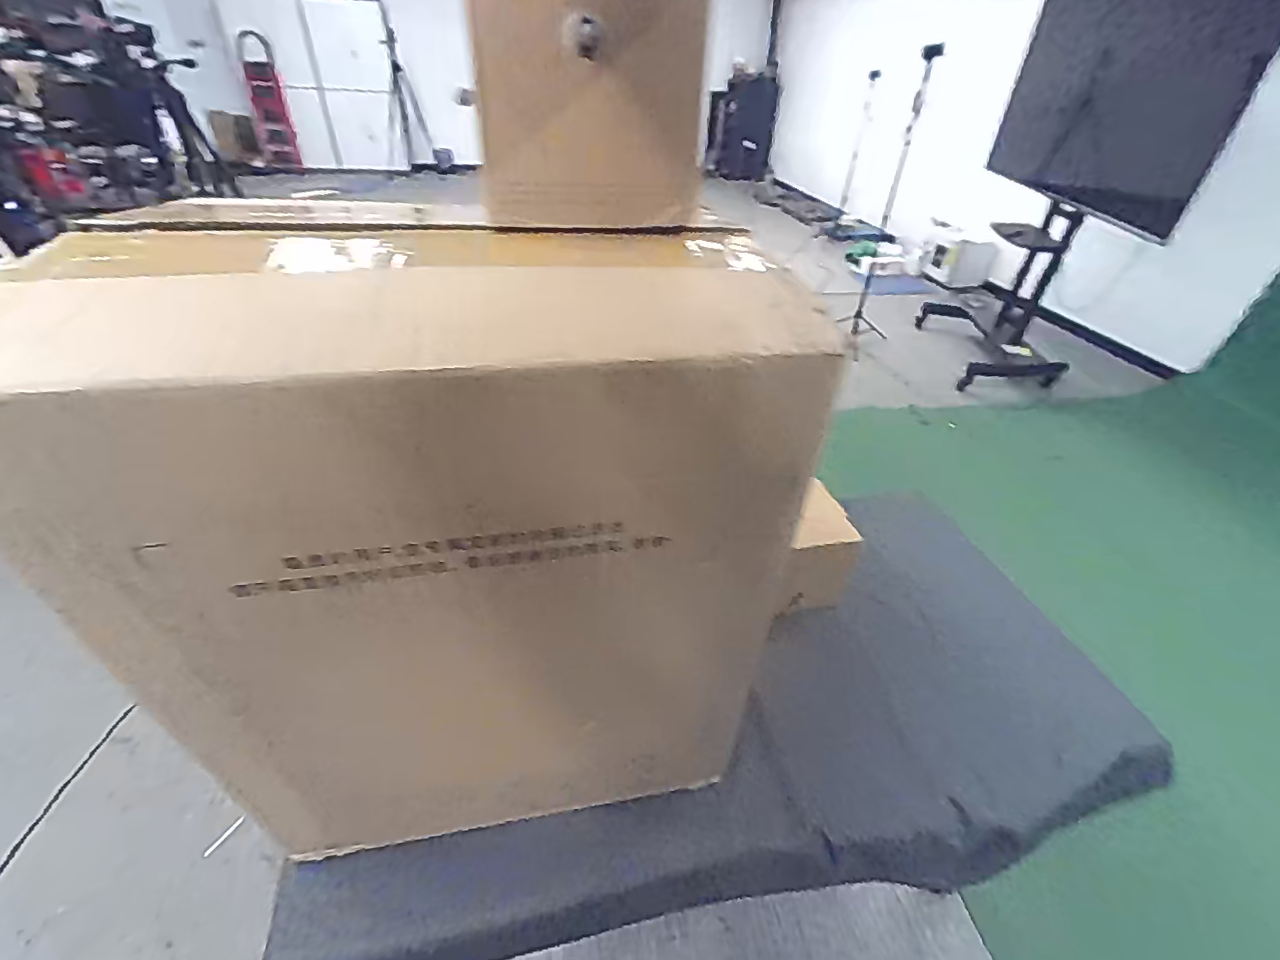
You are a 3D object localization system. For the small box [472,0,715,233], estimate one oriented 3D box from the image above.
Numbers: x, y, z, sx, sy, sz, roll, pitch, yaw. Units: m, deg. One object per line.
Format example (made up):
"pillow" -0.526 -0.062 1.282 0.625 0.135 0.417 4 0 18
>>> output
"small box" -0.045 -0.320 0.476 0.179 0.176 0.168 -4 34 -11
